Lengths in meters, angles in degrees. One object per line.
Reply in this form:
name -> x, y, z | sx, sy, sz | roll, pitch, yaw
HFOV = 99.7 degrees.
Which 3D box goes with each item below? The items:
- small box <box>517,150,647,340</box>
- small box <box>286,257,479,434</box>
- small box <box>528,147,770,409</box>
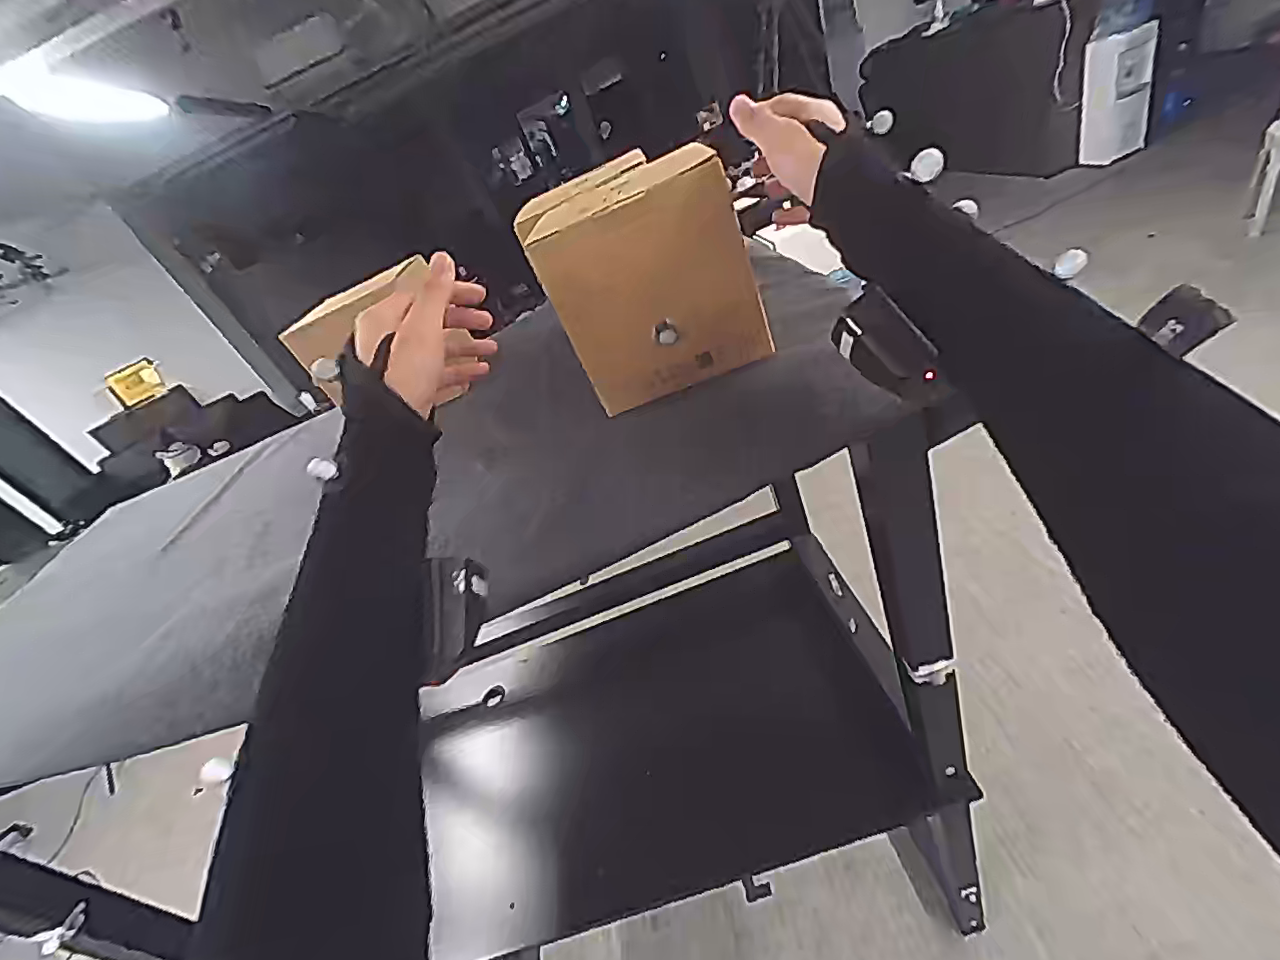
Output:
small box -> -0.039, -0.298, 0.708 | 0.168, 0.176, 0.179 | -20, 35, 11
small box -> -0.352, -0.195, 0.782 | 0.168, 0.176, 0.179 | -24, 33, 6
small box -> 0.014, -0.196, 0.529 | 0.168, 0.176, 0.179 | -19, 33, 12
